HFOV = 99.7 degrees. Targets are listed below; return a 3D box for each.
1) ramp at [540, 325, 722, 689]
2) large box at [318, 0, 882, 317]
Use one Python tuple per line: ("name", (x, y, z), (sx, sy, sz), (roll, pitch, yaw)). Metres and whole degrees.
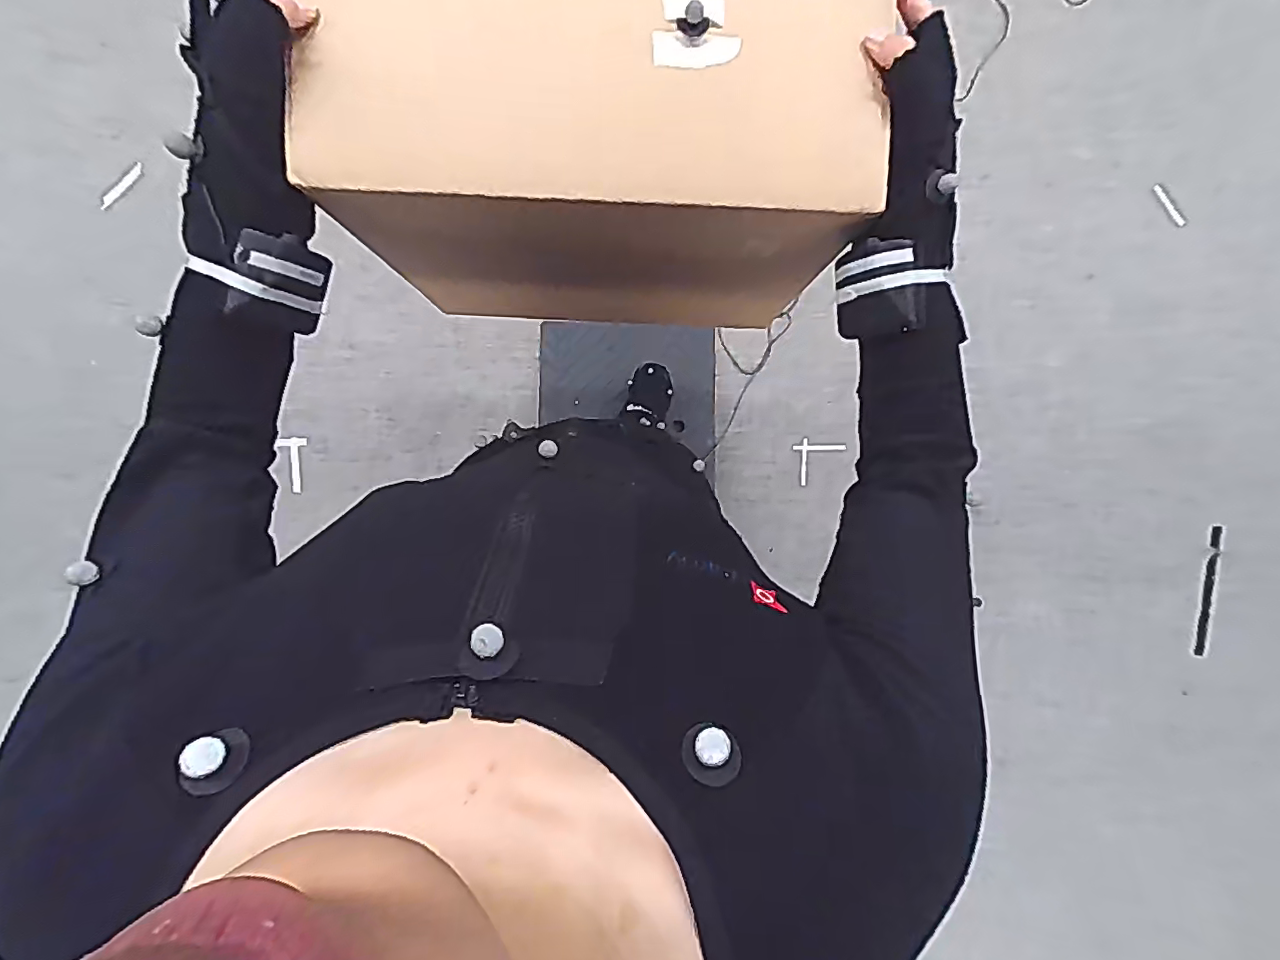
("ramp", (-0.022, 0.057, 1.489), (0.509, 0.206, 0.991), (-1, 94, 1))
("large box", (-0.030, -0.357, 0.530), (0.408, 0.320, 0.320), (2, 91, -2))
